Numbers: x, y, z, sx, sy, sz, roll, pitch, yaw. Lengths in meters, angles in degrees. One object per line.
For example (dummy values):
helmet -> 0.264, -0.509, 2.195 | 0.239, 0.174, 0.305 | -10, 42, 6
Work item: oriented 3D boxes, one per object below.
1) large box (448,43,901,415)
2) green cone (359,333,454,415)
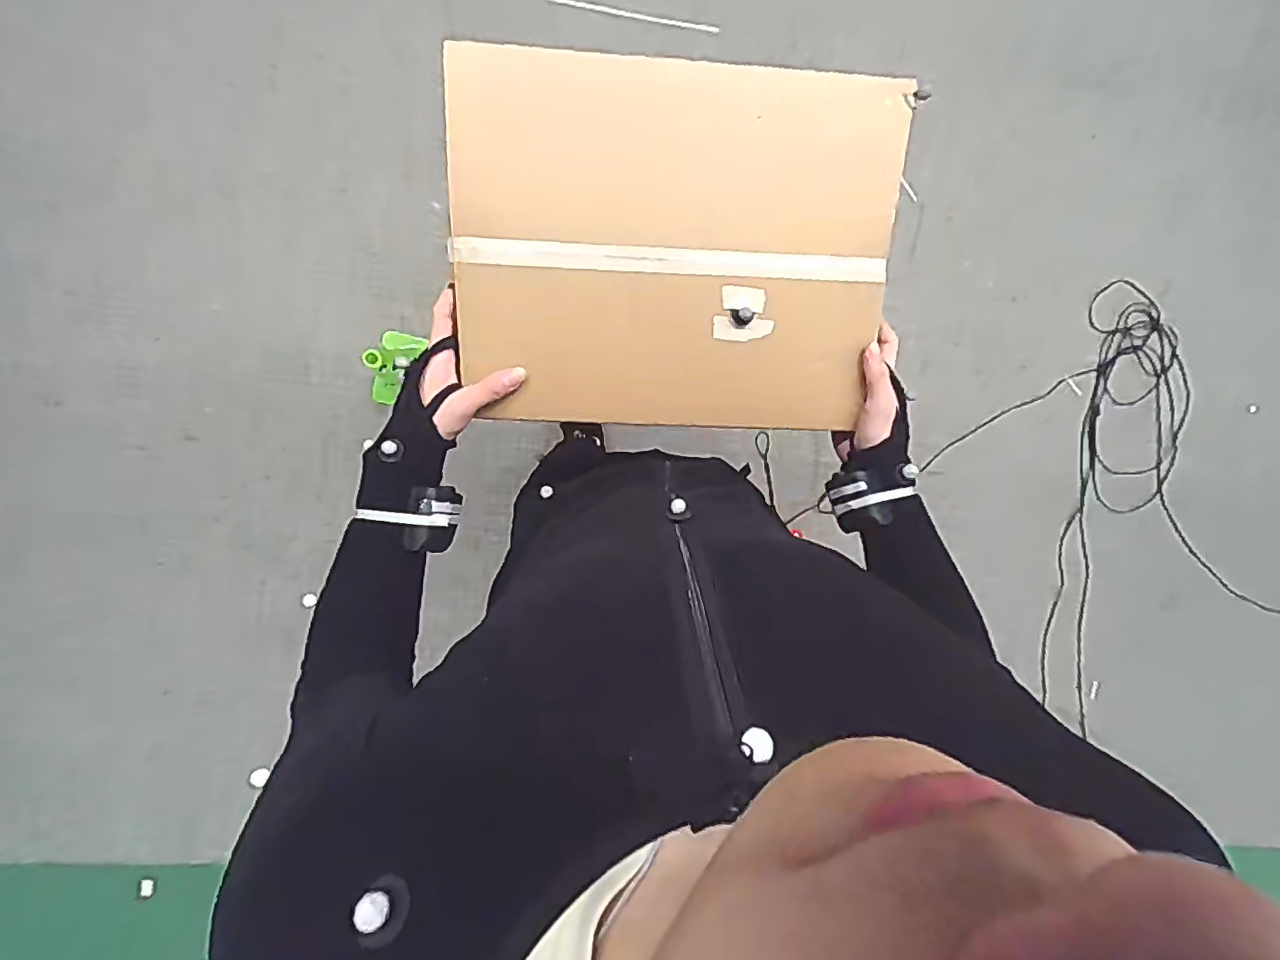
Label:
large box -> 0.020, -0.259, 0.650 | 0.408, 0.320, 0.320 | 1, 108, -5
green cone -> -0.609, -0.273, 1.334 | 0.200, 0.368, 0.202 | 11, 95, -9
